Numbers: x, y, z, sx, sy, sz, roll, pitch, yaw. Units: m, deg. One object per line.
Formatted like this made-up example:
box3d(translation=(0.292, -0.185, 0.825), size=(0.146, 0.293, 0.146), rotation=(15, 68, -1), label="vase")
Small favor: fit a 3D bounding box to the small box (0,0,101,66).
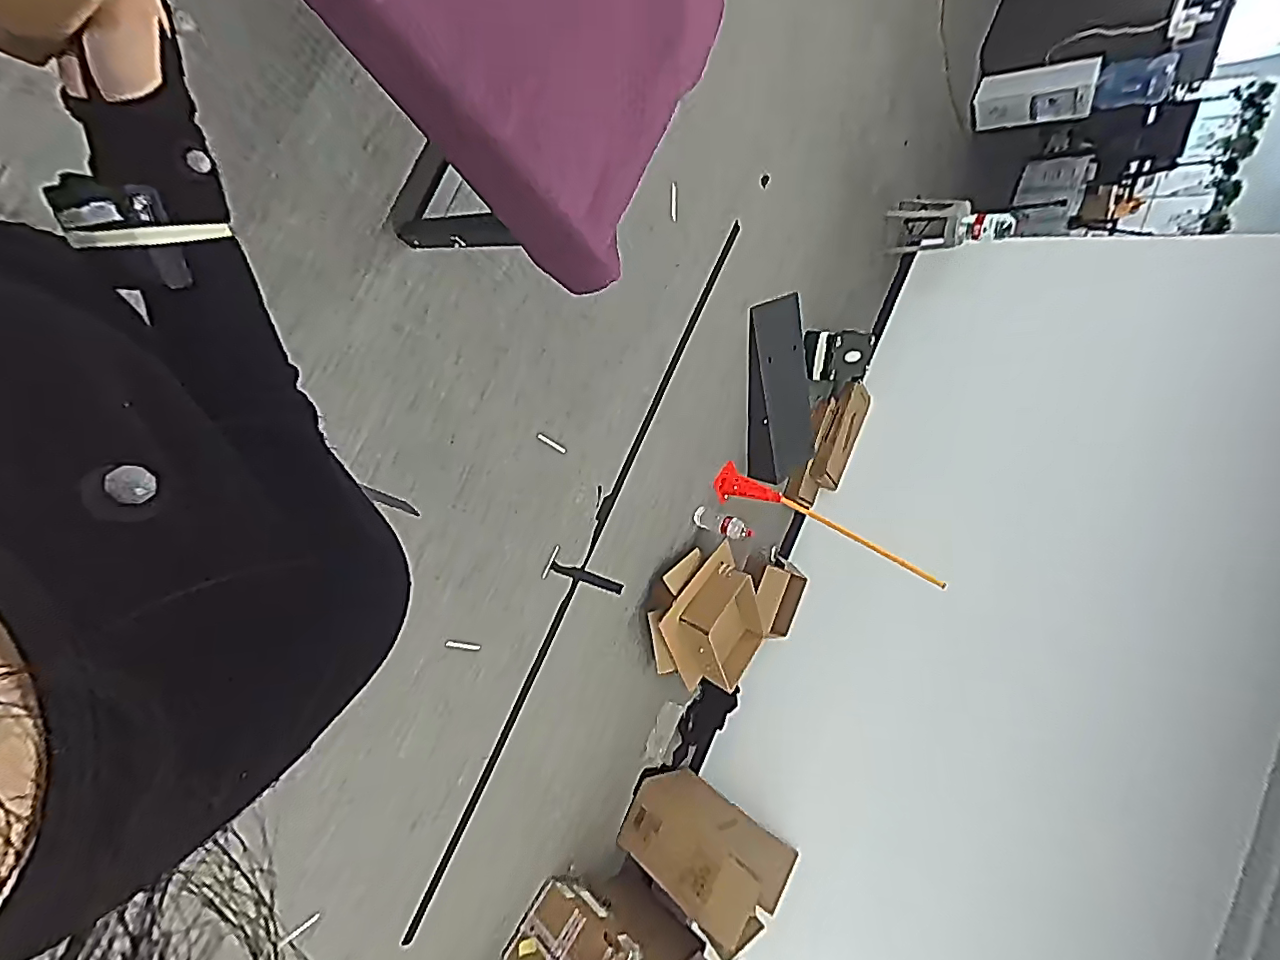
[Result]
box3d(translation=(-0.327, -0.312, 0.210), size=(0.168, 0.176, 0.179), rotation=(-4, 101, -56), label="small box")
